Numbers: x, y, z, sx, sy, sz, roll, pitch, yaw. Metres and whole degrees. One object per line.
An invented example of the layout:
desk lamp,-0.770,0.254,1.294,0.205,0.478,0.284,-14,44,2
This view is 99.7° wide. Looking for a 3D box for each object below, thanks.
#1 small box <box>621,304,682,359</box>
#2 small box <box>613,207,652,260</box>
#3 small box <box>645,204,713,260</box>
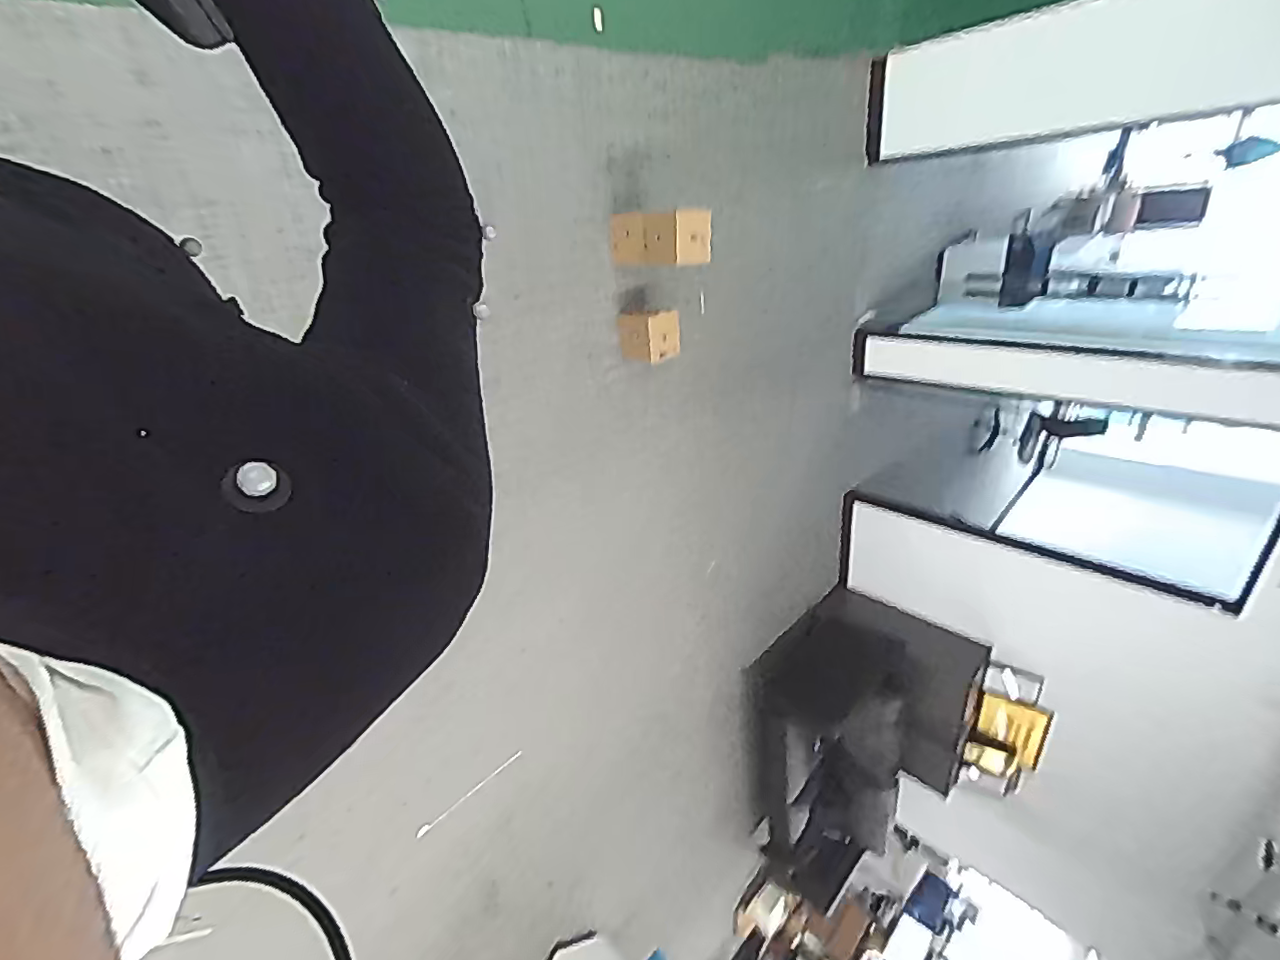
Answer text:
small box,0.042,-0.582,2.104,0.168,0.176,0.179,-27,123,-36
small box,0.015,-0.891,1.955,0.179,0.176,0.168,-25,122,-38
small box,0.128,-0.843,1.846,0.179,0.176,0.168,-23,122,-39
